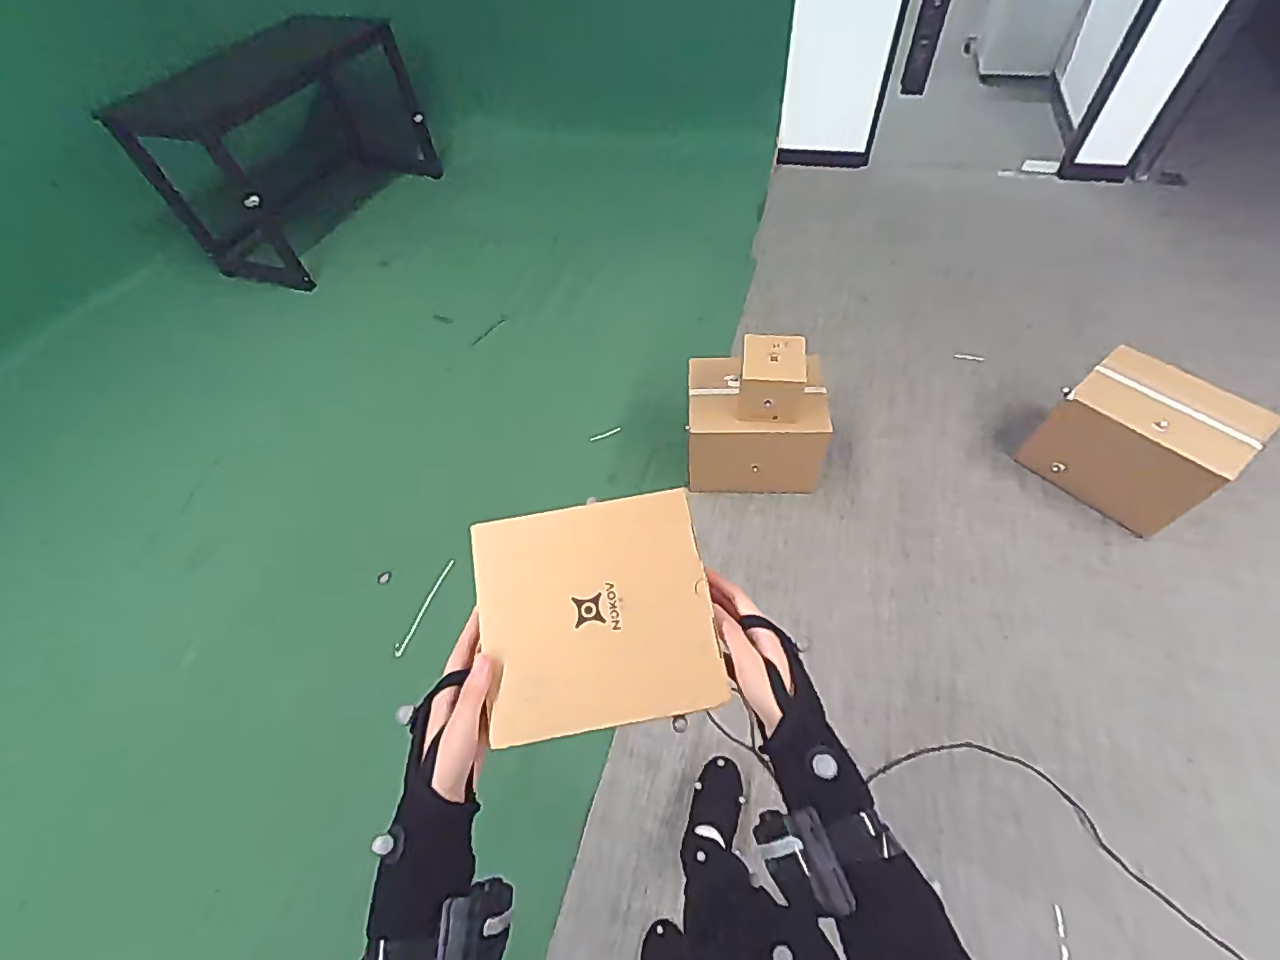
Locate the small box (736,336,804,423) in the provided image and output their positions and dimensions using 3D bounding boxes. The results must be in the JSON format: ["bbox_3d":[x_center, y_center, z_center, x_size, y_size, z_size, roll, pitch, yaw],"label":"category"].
[{"bbox_3d":[0.360,-0.277,1.508,0.168,0.176,0.179,6,56,7],"label":"small box"}]

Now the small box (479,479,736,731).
[{"bbox_3d":[-0.028,0.114,0.478,0.179,0.176,0.168,-9,71,-3],"label":"small box"}]

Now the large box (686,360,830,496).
[{"bbox_3d":[0.353,-0.159,1.729,0.408,0.320,0.320,0,53,6],"label":"large box"}]
